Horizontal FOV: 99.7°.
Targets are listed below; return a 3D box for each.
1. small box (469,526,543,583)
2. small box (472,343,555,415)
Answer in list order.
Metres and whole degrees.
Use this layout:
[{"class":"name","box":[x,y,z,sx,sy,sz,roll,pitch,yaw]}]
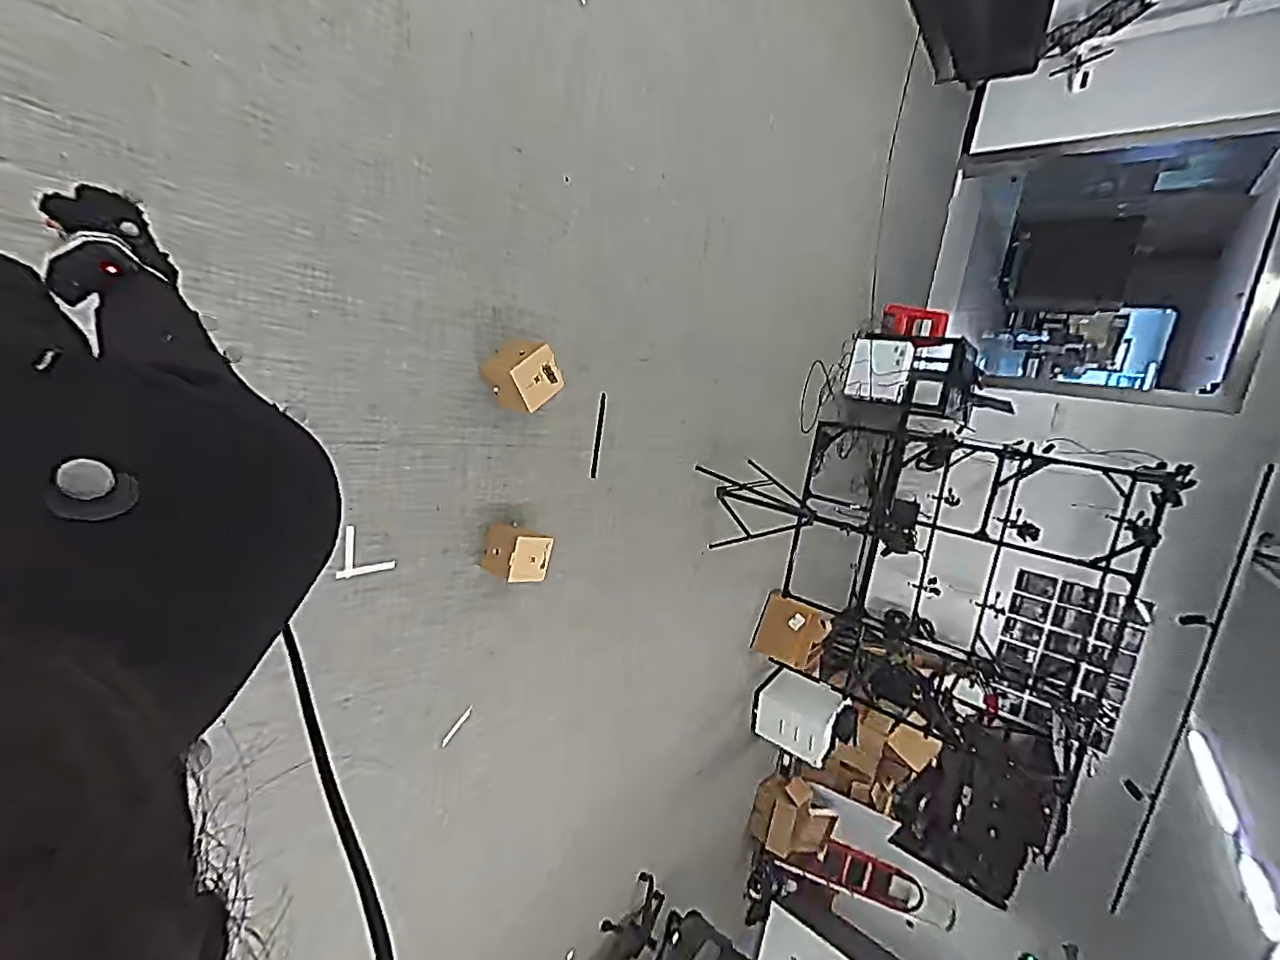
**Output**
[{"class":"small box","box":[-0.486,0.267,1.950,0.179,0.176,0.168,13,93,-53]},{"class":"small box","box":[-0.421,-0.343,1.801,0.179,0.176,0.168,-47,136,-31]}]
